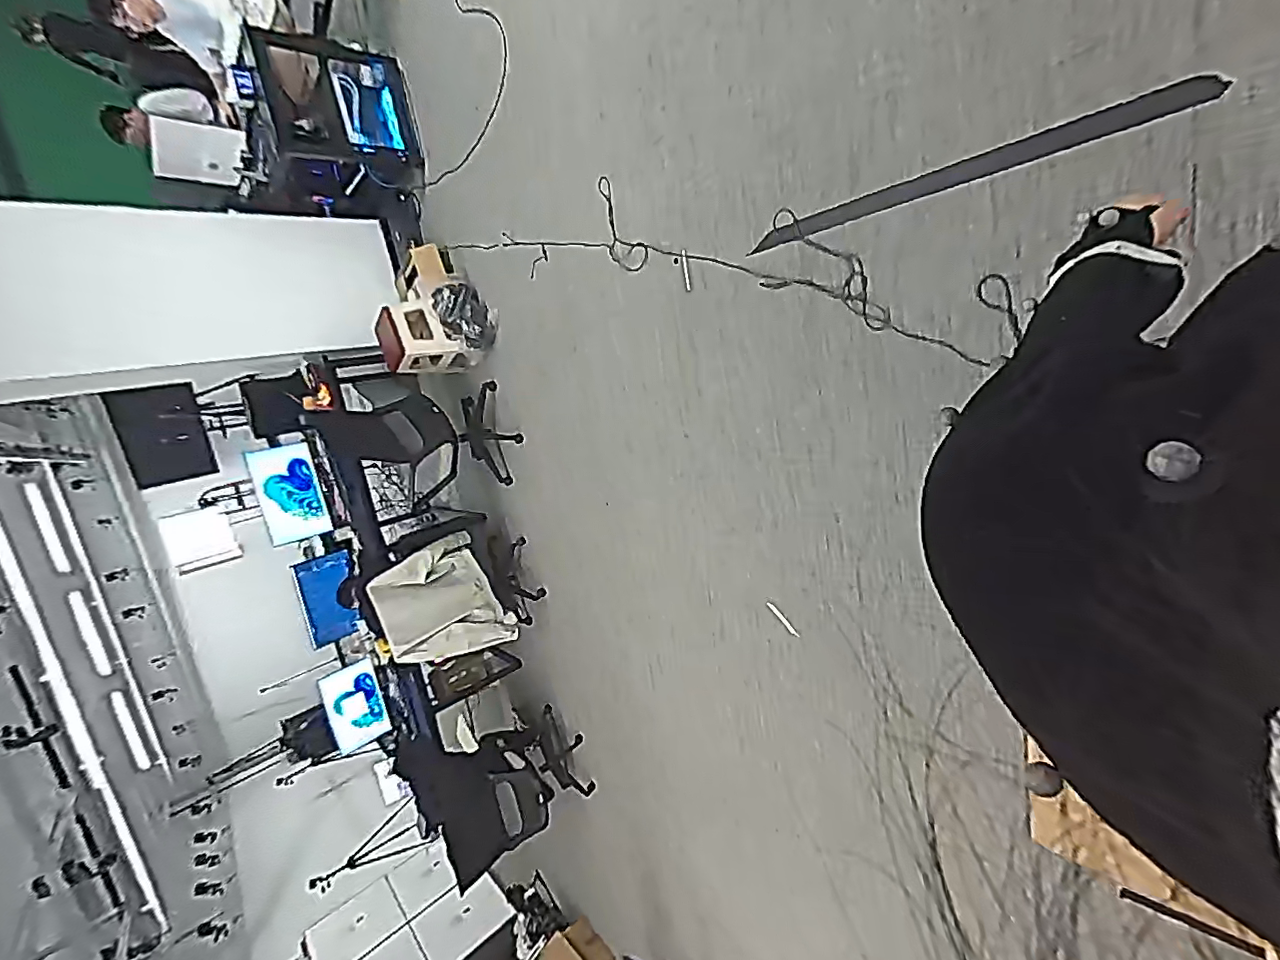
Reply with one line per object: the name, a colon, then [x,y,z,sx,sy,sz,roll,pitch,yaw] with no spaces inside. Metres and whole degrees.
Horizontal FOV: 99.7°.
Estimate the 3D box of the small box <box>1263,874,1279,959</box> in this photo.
small box: [1.361,0.935,1.064,0.168,0.176,0.179,-8,99,51]
